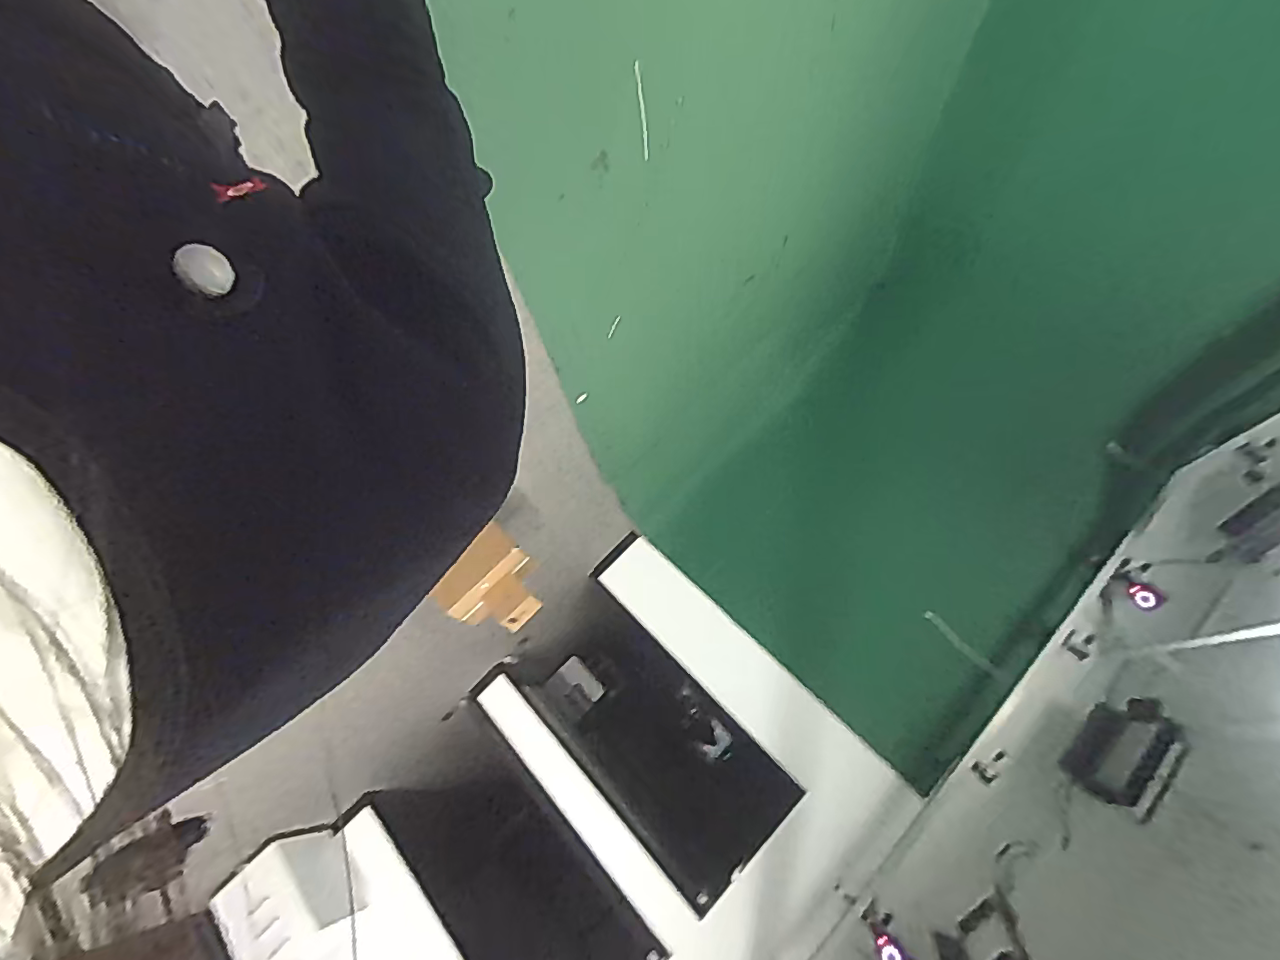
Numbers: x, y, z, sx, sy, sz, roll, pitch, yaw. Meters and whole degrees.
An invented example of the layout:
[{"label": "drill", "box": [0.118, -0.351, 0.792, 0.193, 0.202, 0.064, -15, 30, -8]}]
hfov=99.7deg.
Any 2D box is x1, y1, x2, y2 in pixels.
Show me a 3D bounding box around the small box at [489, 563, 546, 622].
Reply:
[{"label": "small box", "box": [-0.570, 0.519, 2.491, 0.179, 0.176, 0.168, -44, 151, -9]}]
